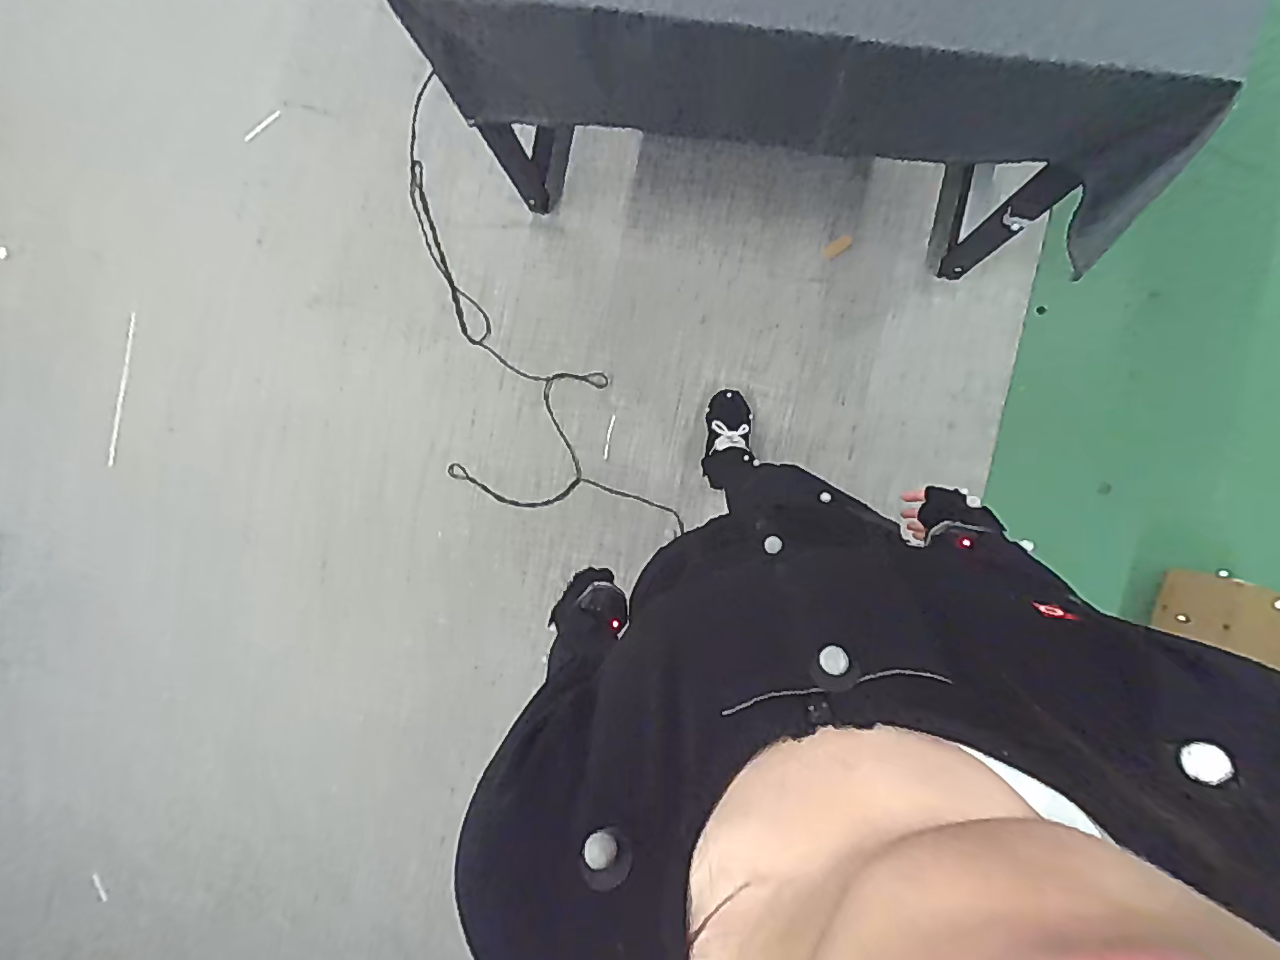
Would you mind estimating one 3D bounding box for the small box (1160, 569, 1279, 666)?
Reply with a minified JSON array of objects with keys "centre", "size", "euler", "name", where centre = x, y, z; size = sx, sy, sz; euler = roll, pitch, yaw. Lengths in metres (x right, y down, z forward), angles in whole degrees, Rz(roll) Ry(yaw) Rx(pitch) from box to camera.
[{"centre":[1.384,0.316,1.257],"size":[0.179,0.176,0.168],"euler":[17,92,6],"name":"small box"}]
